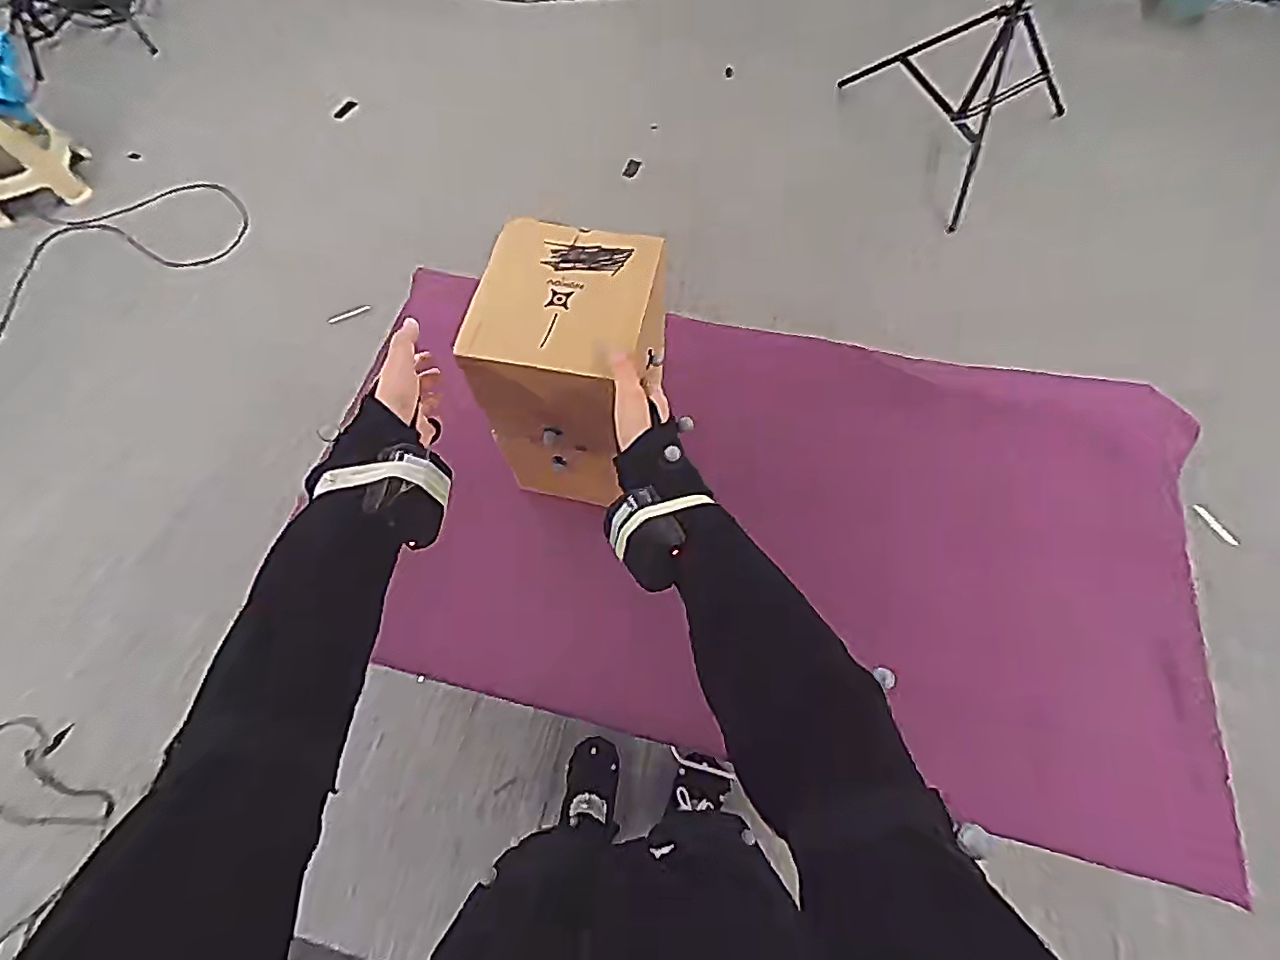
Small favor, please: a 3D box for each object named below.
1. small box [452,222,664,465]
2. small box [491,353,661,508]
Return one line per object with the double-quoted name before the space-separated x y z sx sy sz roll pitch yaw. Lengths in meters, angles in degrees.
"small box" -0.073 -0.139 0.584 0.168 0.176 0.179 10 67 6
"small box" -0.074 -0.074 0.736 0.179 0.176 0.168 11 67 6
